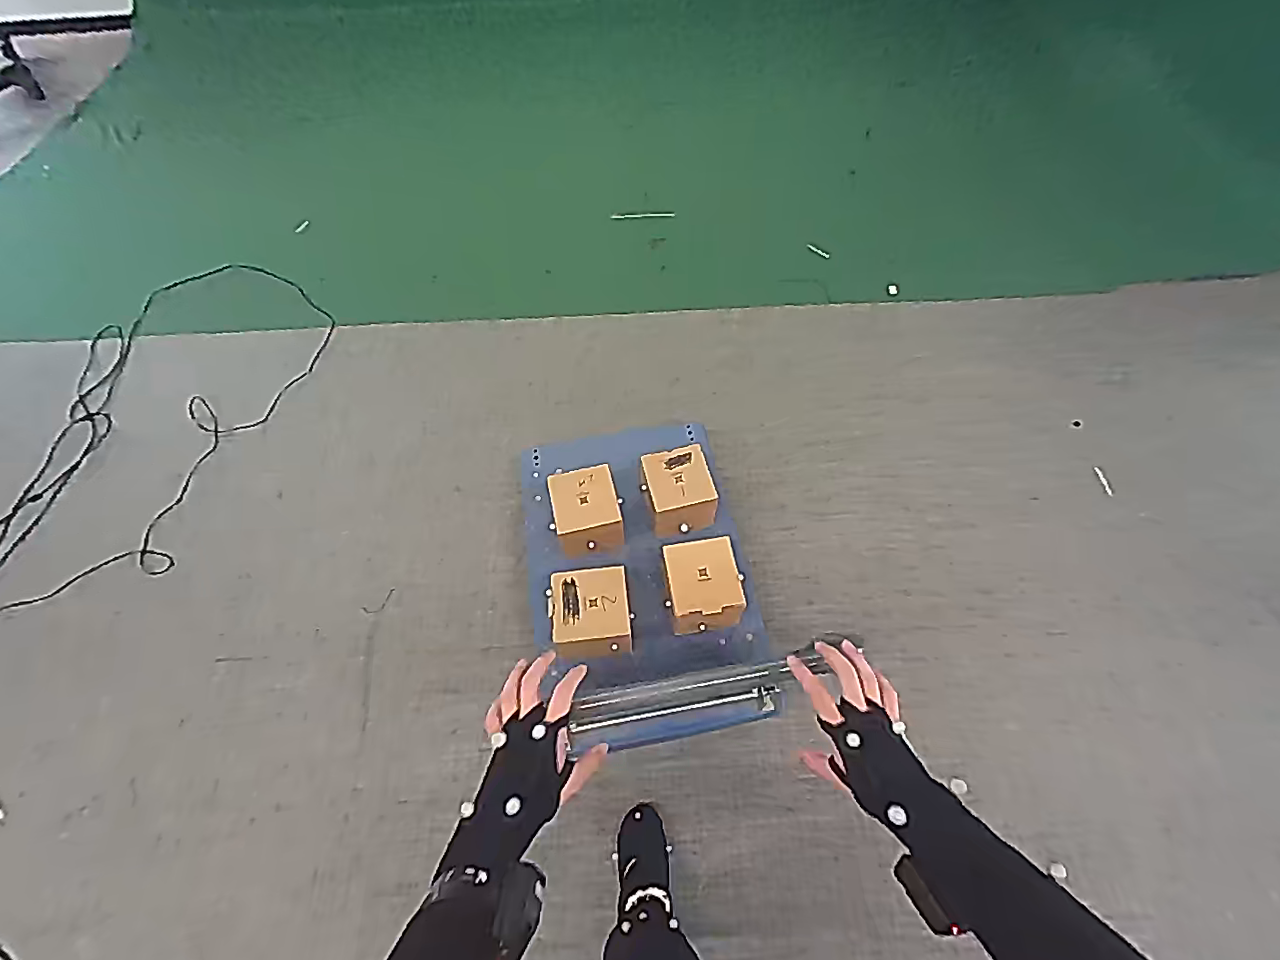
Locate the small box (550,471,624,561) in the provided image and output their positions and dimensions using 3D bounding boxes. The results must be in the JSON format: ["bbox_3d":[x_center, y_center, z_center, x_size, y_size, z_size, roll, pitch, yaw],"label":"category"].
[{"bbox_3d":[-0.140,0.105,1.463,0.168,0.176,0.179,-12,59,-7],"label":"small box"}]

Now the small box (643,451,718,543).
[{"bbox_3d":[0.104,0.050,1.490,0.168,0.176,0.179,-12,60,-5],"label":"small box"}]

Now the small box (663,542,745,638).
[{"bbox_3d":[0.152,0.278,1.352,0.168,0.176,0.179,-8,59,-4],"label":"small box"}]
